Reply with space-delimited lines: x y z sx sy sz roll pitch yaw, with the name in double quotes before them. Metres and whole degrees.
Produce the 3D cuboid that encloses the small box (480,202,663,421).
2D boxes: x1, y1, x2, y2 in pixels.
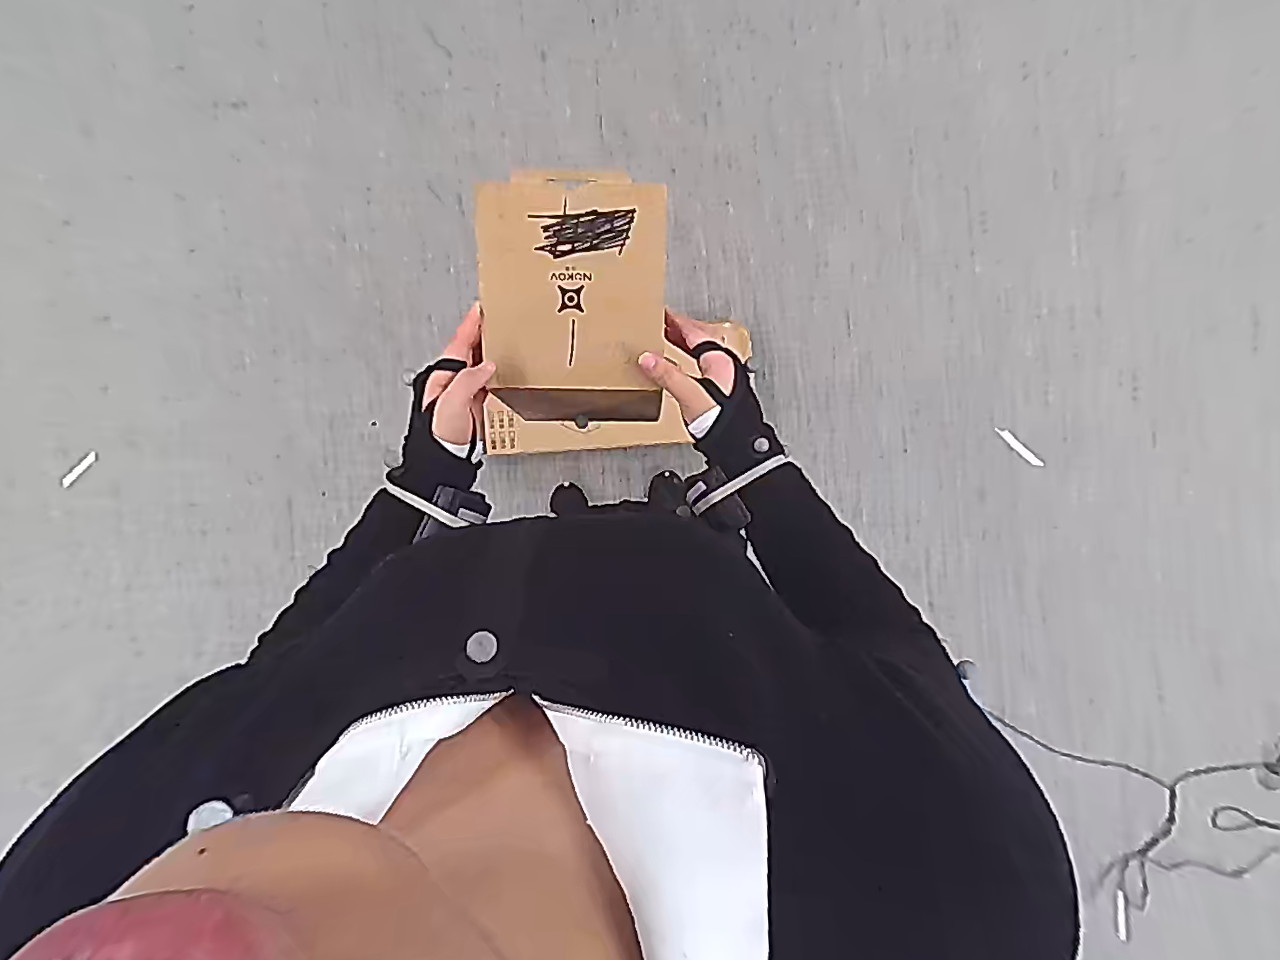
"small box" -0.062 -0.167 0.579 0.168 0.176 0.179 1 86 1
